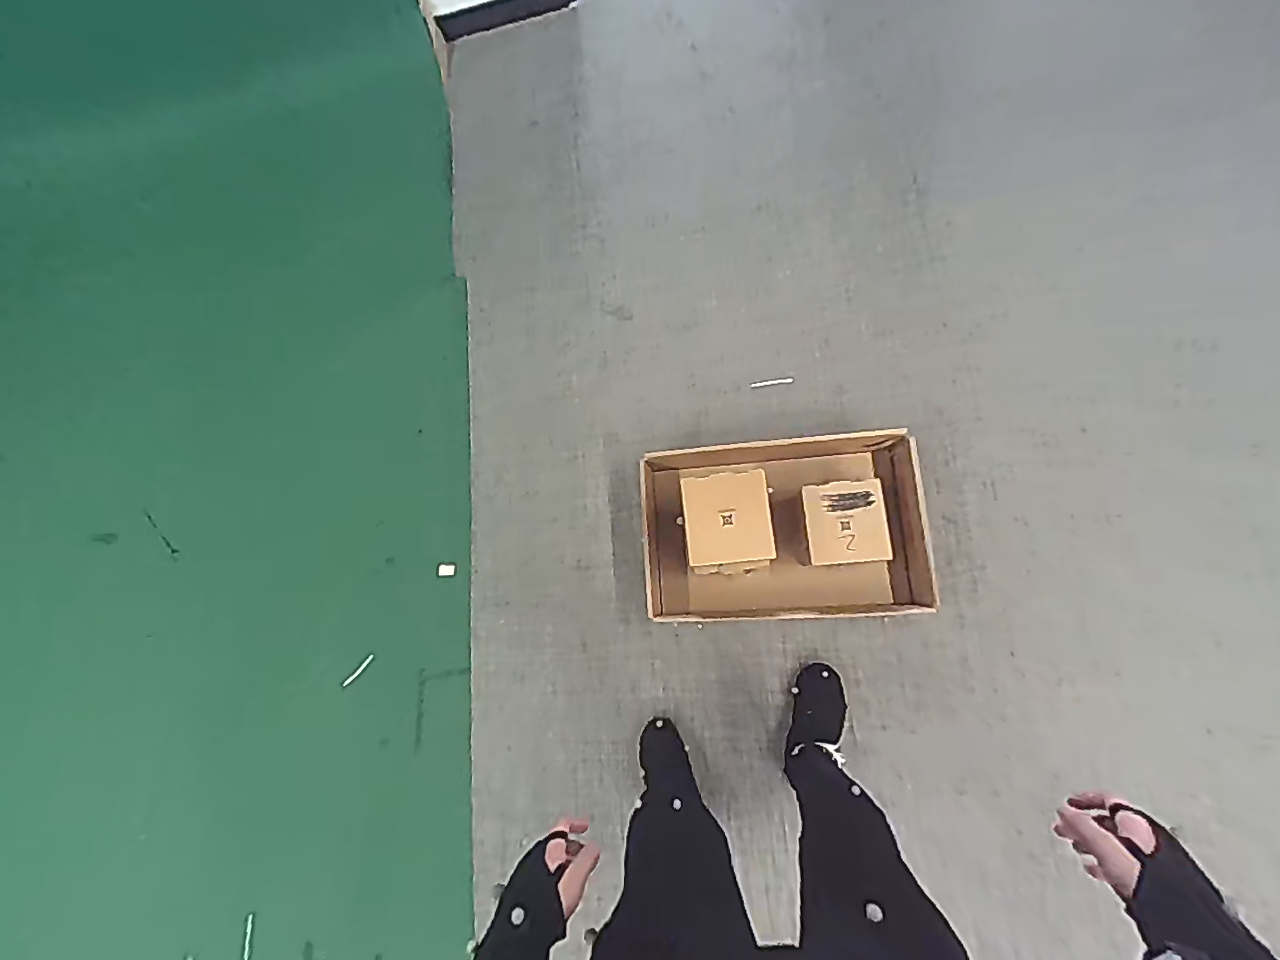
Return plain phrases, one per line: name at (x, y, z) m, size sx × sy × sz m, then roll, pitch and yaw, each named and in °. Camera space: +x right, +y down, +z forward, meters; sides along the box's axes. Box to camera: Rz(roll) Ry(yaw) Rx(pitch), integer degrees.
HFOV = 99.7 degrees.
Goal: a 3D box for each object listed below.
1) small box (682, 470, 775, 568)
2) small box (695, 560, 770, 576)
small box at (0.182, 0.088, 1.118) m, size 0.168 × 0.176 × 0.179 m, roll -7°, pitch 78°, yaw 8°
small box at (0.211, 0.133, 1.271) m, size 0.168 × 0.176 × 0.179 m, roll -6°, pitch 78°, yaw 8°
